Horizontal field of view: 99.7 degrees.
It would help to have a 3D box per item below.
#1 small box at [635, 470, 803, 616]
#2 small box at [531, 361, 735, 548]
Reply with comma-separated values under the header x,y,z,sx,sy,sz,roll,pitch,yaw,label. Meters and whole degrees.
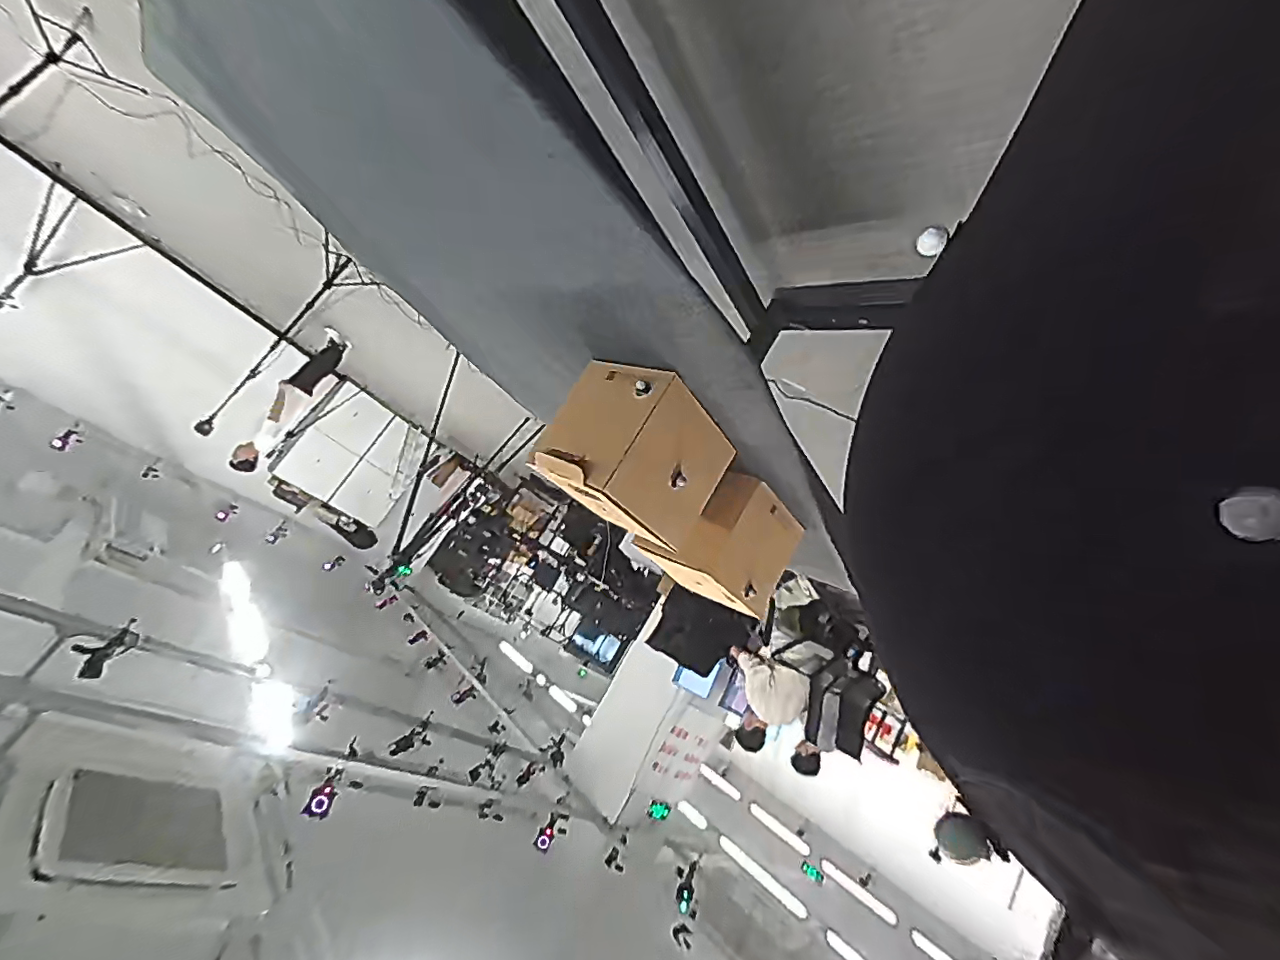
x,y,z,sx,sy,sz,roll,pitch,yaw,label
0.131,0.087,0.880,0.179,0.176,0.168,17,161,48,small box
-0.003,-0.039,0.725,0.168,0.176,0.179,21,165,44,small box
